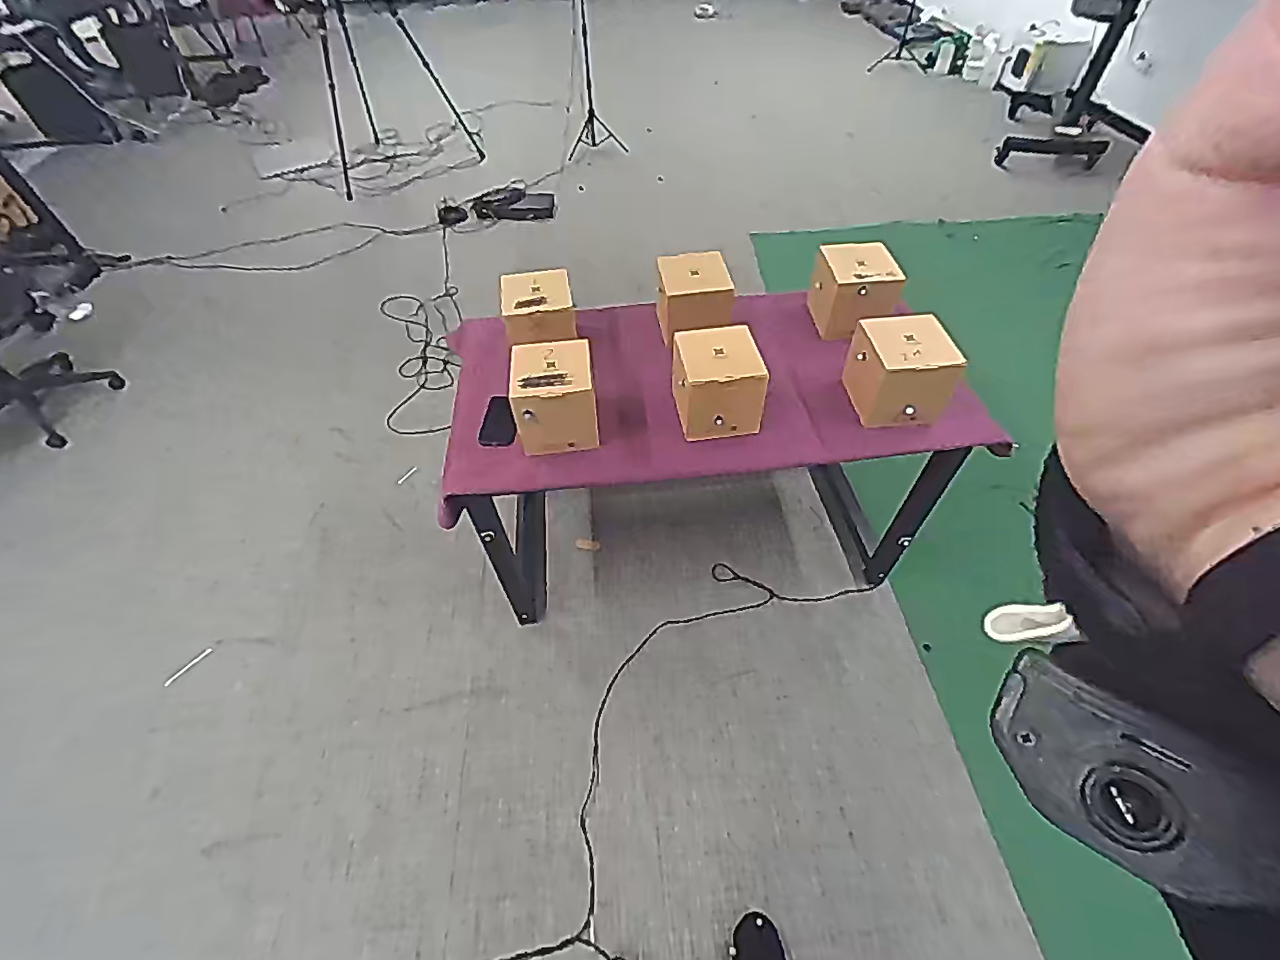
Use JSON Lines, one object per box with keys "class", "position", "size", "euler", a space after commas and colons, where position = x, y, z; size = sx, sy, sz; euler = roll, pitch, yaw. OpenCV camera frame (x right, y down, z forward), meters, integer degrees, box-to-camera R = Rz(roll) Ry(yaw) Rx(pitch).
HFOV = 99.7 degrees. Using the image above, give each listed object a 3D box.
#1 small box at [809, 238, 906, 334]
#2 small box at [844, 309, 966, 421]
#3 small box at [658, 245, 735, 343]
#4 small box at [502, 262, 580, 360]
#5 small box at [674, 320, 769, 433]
{"class": "small box", "position": [0.548, -0.499, 1.393], "size": [0.168, 0.176, 0.179], "euler": [-4, 51, 0]}
{"class": "small box", "position": [0.570, -0.252, 1.193], "size": [0.168, 0.176, 0.179], "euler": [-5, 52, 0]}
{"class": "small box", "position": [0.138, -0.475, 1.389], "size": [0.168, 0.176, 0.179], "euler": [-7, 53, -2]}
{"class": "small box", "position": [-0.245, -0.416, 1.351], "size": [0.168, 0.176, 0.179], "euler": [-8, 52, -5]}
{"class": "small box", "position": [0.170, -0.228, 1.192], "size": [0.168, 0.176, 0.179], "euler": [-7, 51, -4]}
